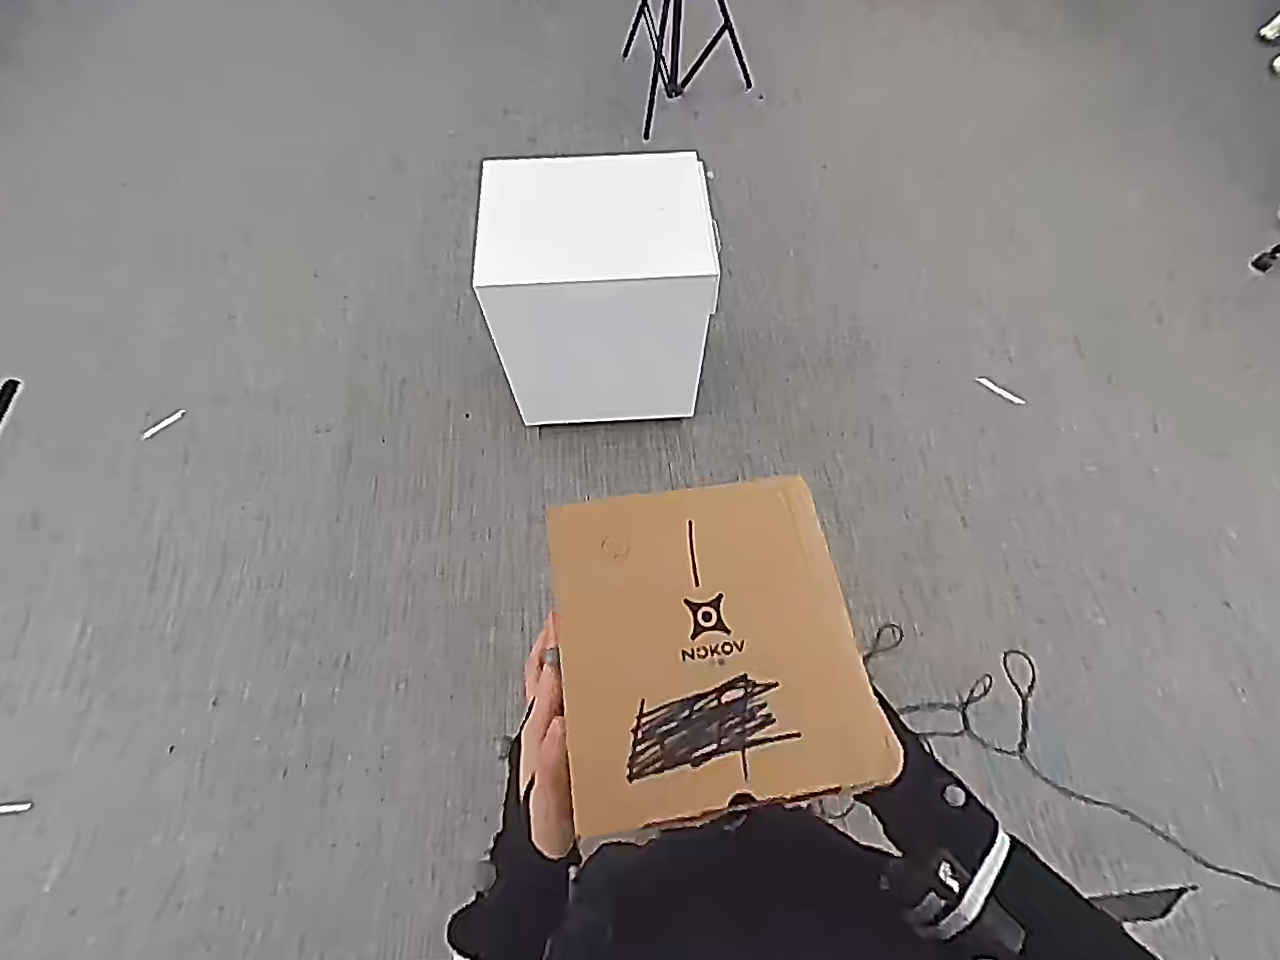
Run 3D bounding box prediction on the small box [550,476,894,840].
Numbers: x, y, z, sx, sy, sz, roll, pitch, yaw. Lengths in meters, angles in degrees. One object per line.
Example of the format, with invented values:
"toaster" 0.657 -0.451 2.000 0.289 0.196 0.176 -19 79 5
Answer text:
"small box" 0.035 0.117 0.374 0.168 0.176 0.179 -7 66 -7
